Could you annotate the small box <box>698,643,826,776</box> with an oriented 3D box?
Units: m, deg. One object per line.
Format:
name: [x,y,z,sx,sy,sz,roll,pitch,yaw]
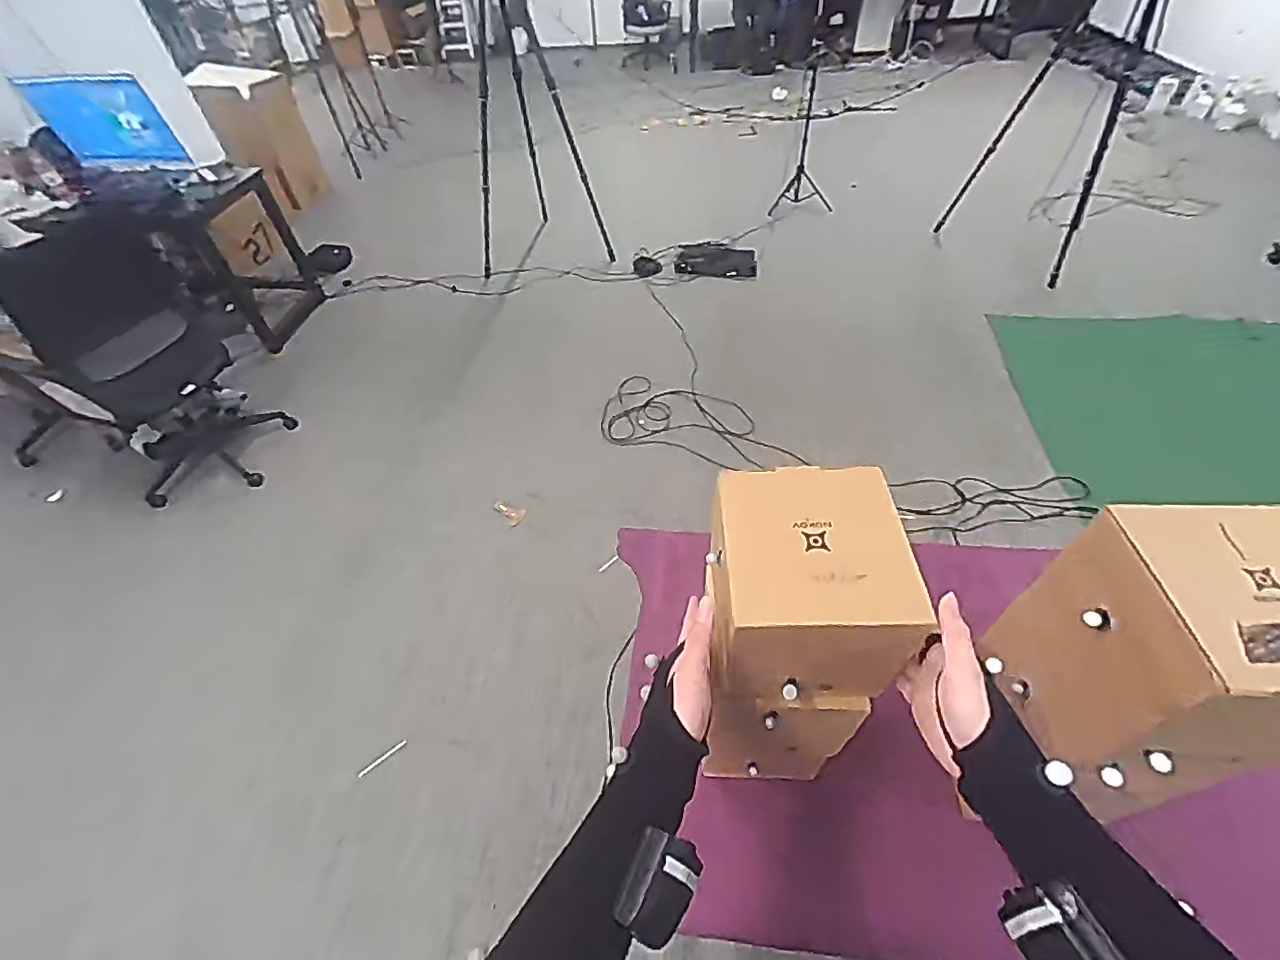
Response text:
small box: [0.172,0.316,0.797,0.168,0.176,0.179,-1,49,4]

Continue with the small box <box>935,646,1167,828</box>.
small box: [0.529,0.348,0.734,0.168,0.176,0.179,1,48,6]

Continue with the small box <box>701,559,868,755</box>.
small box: [0.160,0.217,0.666,0.168,0.176,0.179,0,48,5]

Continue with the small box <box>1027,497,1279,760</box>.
small box: [0.500,0.135,0.486,0.168,0.176,0.179,0,47,5]

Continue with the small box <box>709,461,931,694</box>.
small box: [0.159,0.100,0.551,0.168,0.176,0.179,-2,49,4]
